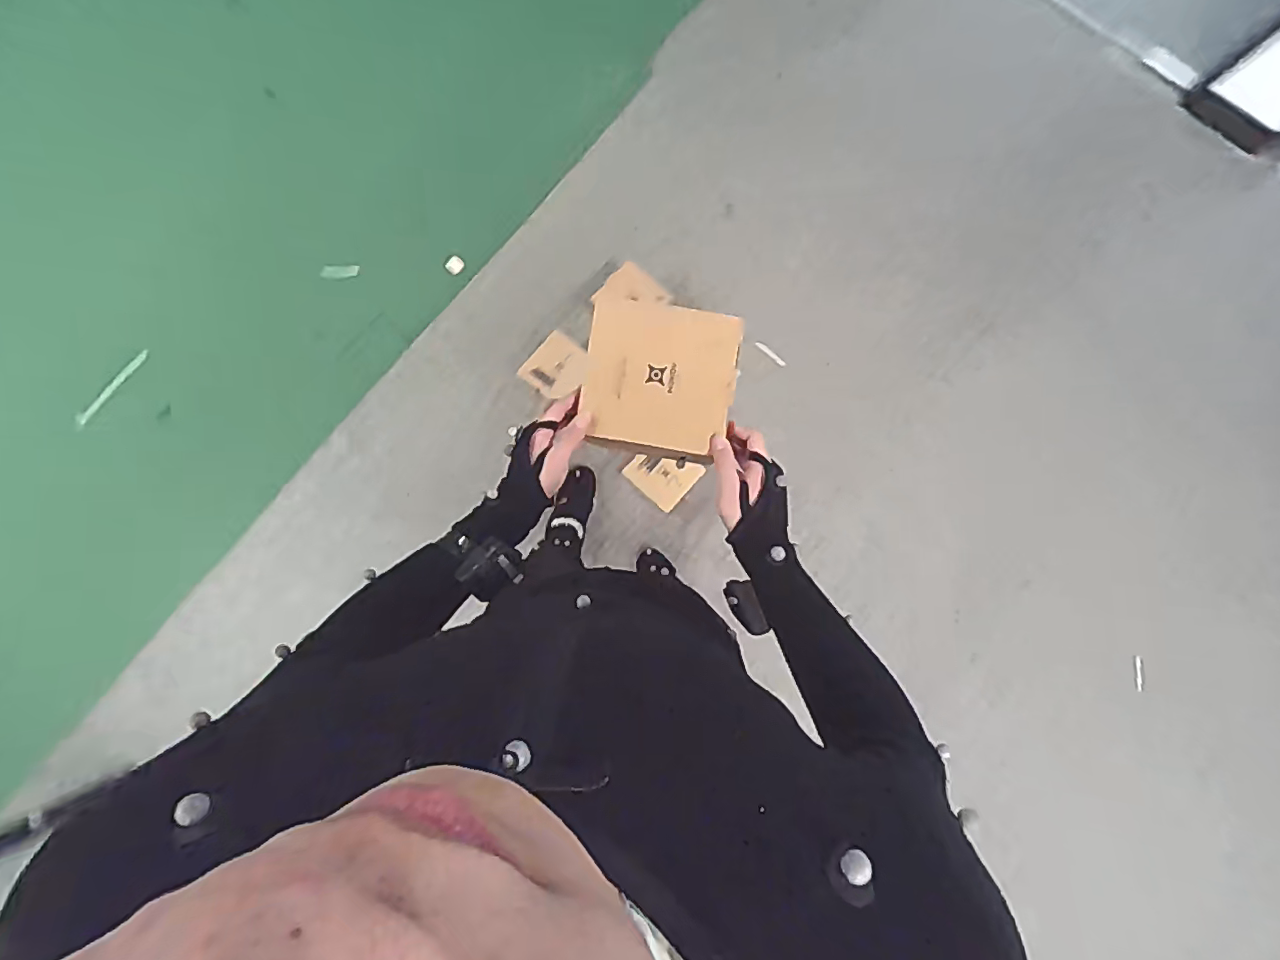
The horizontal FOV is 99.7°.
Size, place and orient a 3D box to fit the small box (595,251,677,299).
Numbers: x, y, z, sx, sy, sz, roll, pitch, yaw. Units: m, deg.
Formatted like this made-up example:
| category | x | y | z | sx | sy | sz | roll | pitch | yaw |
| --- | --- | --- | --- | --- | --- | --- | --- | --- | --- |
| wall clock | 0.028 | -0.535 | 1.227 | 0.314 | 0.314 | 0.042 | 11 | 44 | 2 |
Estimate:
| category | x | y | z | sx | sy | sz | roll | pitch | yaw |
| --- | --- | --- | --- | --- | --- | --- | --- | --- | --- |
| small box | -0.010 | -0.526 | 1.596 | 0.179 | 0.176 | 0.168 | 44 | 89 | 5 |

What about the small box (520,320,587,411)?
| category | x | y | z | sx | sy | sz | roll | pitch | yaw |
| --- | --- | --- | --- | --- | --- | --- | --- | --- | --- |
| small box | -0.220 | -0.327 | 1.589 | 0.168 | 0.176 | 0.179 | 42 | 88 | 4 |

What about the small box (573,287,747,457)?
| category | x | y | z | sx | sy | sz | roll | pitch | yaw |
| --- | --- | --- | --- | --- | --- | --- | --- | --- | --- |
| small box | 0.024 | -0.124 | 0.690 | 0.179 | 0.176 | 0.168 | 9 | 89 | 2 |
